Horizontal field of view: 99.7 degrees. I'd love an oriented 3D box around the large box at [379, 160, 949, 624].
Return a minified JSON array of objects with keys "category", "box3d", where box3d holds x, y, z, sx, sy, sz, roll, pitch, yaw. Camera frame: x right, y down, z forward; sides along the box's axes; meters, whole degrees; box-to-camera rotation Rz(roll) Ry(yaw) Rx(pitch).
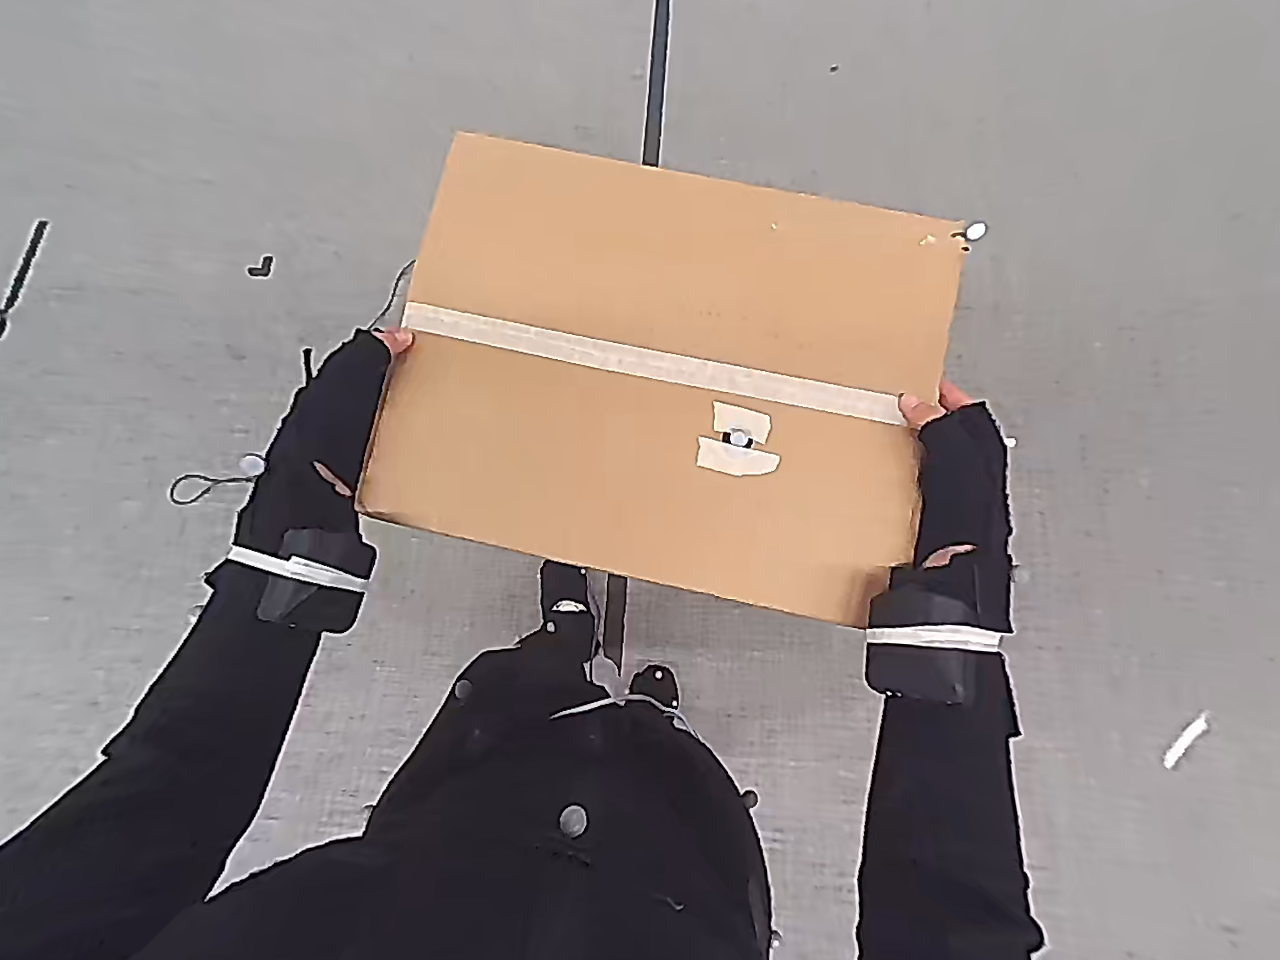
[{"category":"large box","box3d":[0.024,-0.062,0.568,0.408,0.320,0.320,12,85,2]}]
